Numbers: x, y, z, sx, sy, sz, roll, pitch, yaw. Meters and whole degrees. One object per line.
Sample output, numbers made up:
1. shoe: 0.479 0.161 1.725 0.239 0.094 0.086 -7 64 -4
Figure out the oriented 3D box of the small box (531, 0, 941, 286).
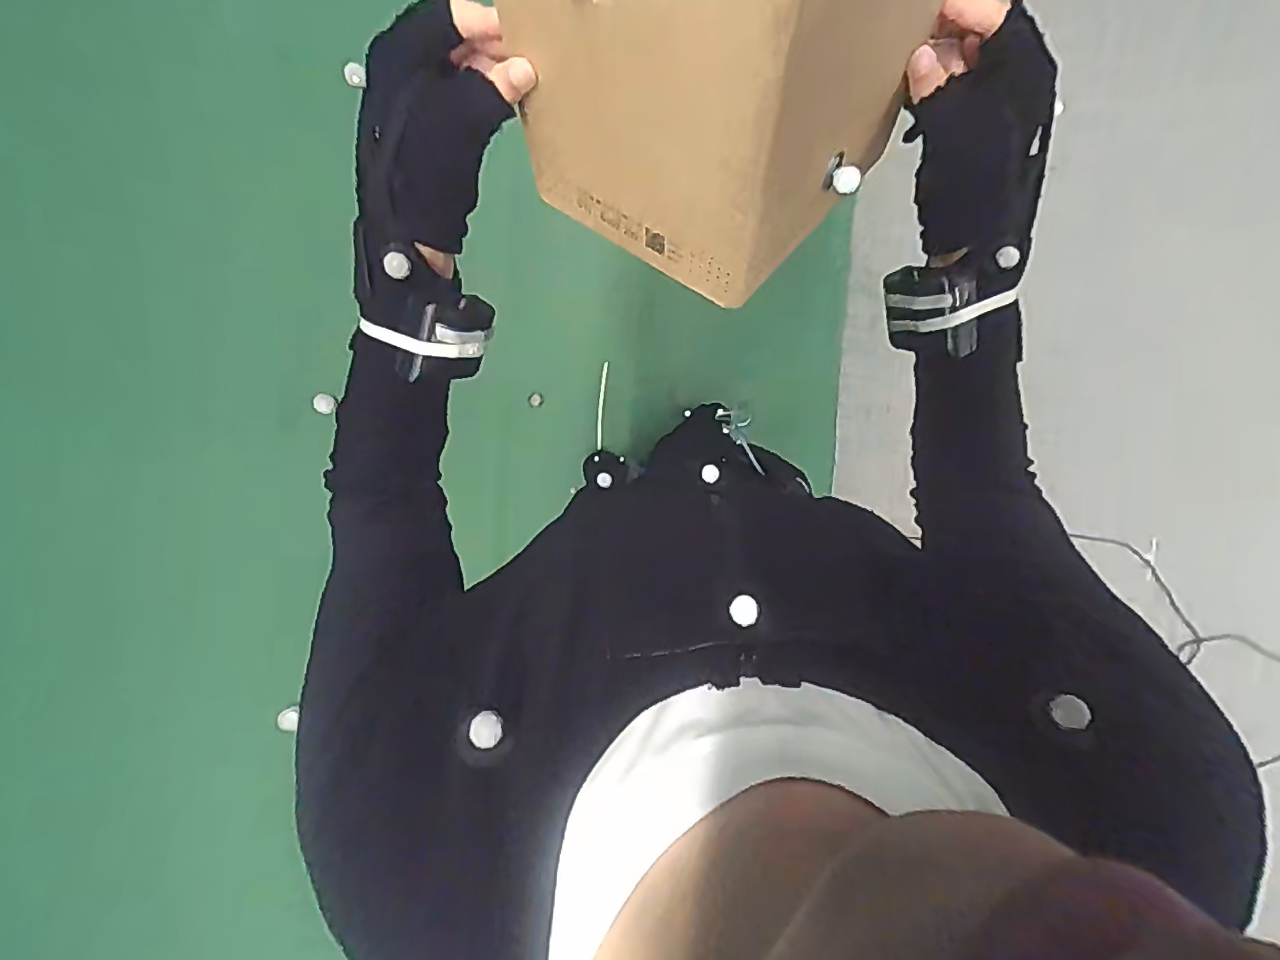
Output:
1. small box: 0.051 -0.250 0.299 0.168 0.176 0.179 37 73 16
